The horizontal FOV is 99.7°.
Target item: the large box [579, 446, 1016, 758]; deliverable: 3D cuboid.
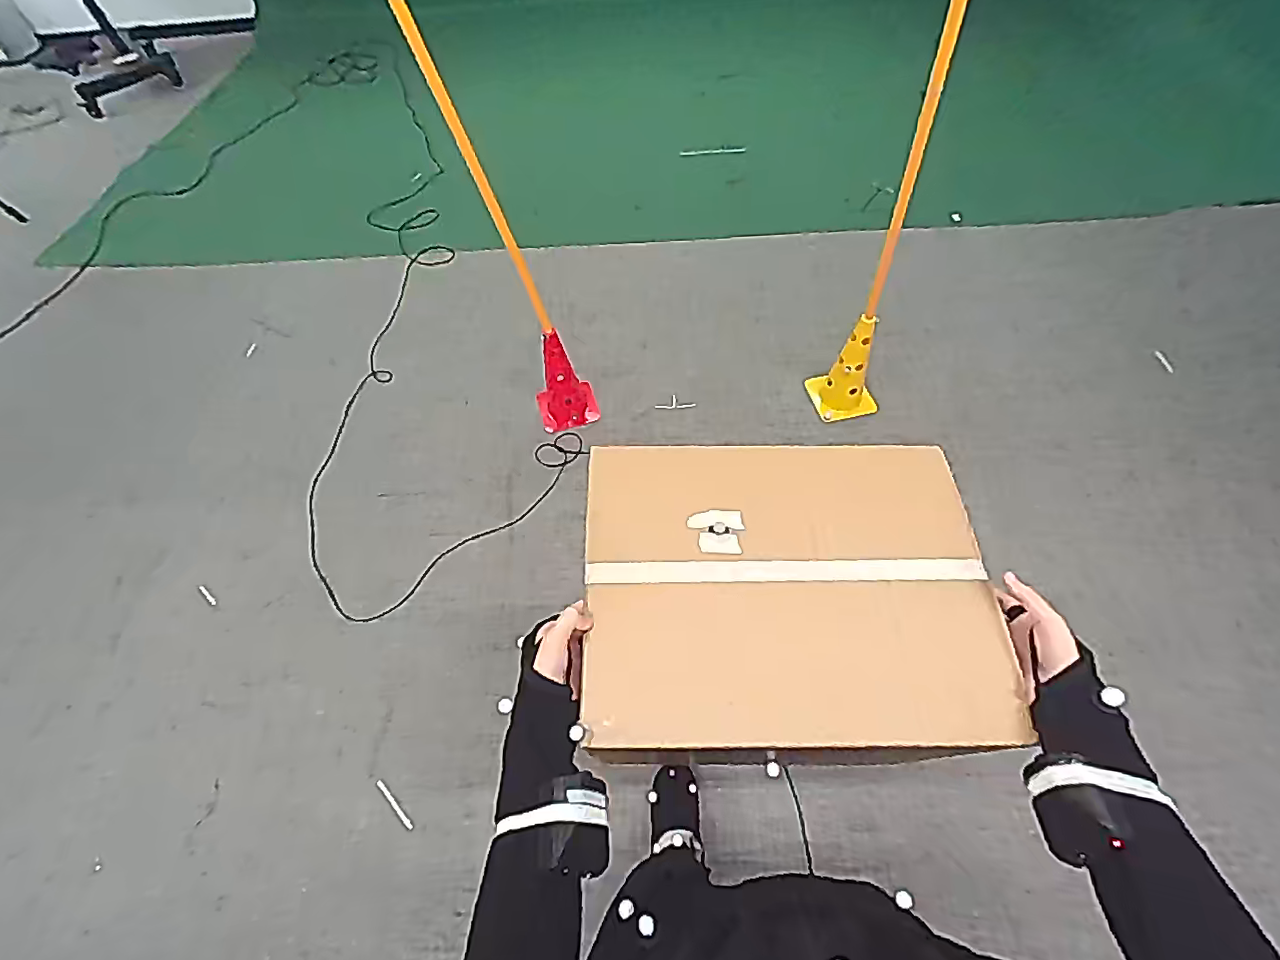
[{"bbox_3d":[0.144,0.172,0.687,0.408,0.320,0.320,-1,59,0],"label":"large box"}]
